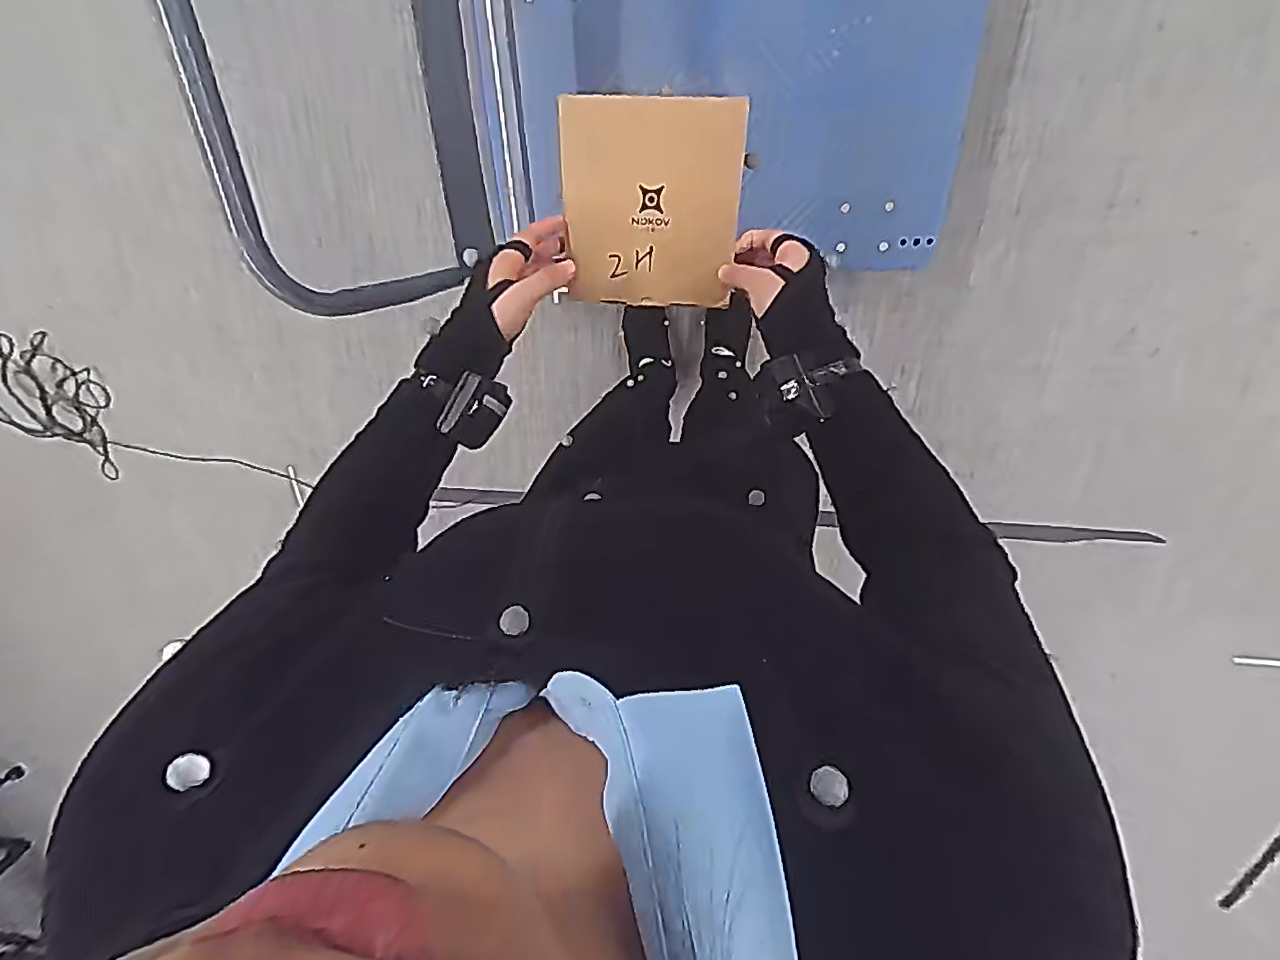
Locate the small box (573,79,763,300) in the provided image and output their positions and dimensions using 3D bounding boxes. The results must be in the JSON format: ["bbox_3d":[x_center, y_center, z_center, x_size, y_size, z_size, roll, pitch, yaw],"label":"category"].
[{"bbox_3d":[0.027,-0.299,0.566,0.168,0.176,0.179,4,121,4],"label":"small box"}]
